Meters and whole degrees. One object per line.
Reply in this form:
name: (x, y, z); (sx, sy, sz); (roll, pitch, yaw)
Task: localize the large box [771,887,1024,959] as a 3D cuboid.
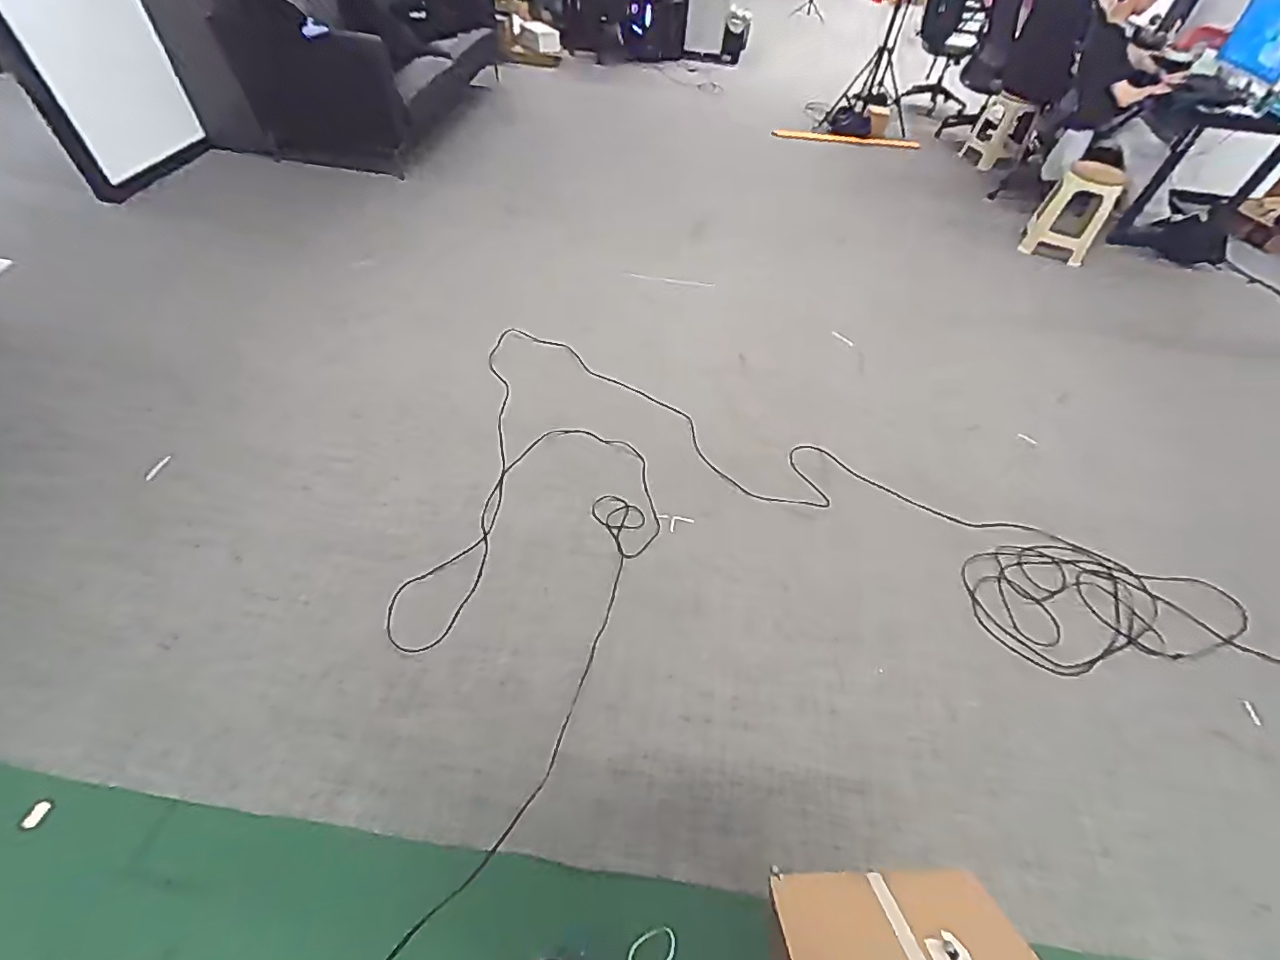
large box: (0.358, 0.789, 0.636); (0.320, 0.408, 0.320); (-2, 93, 1)
